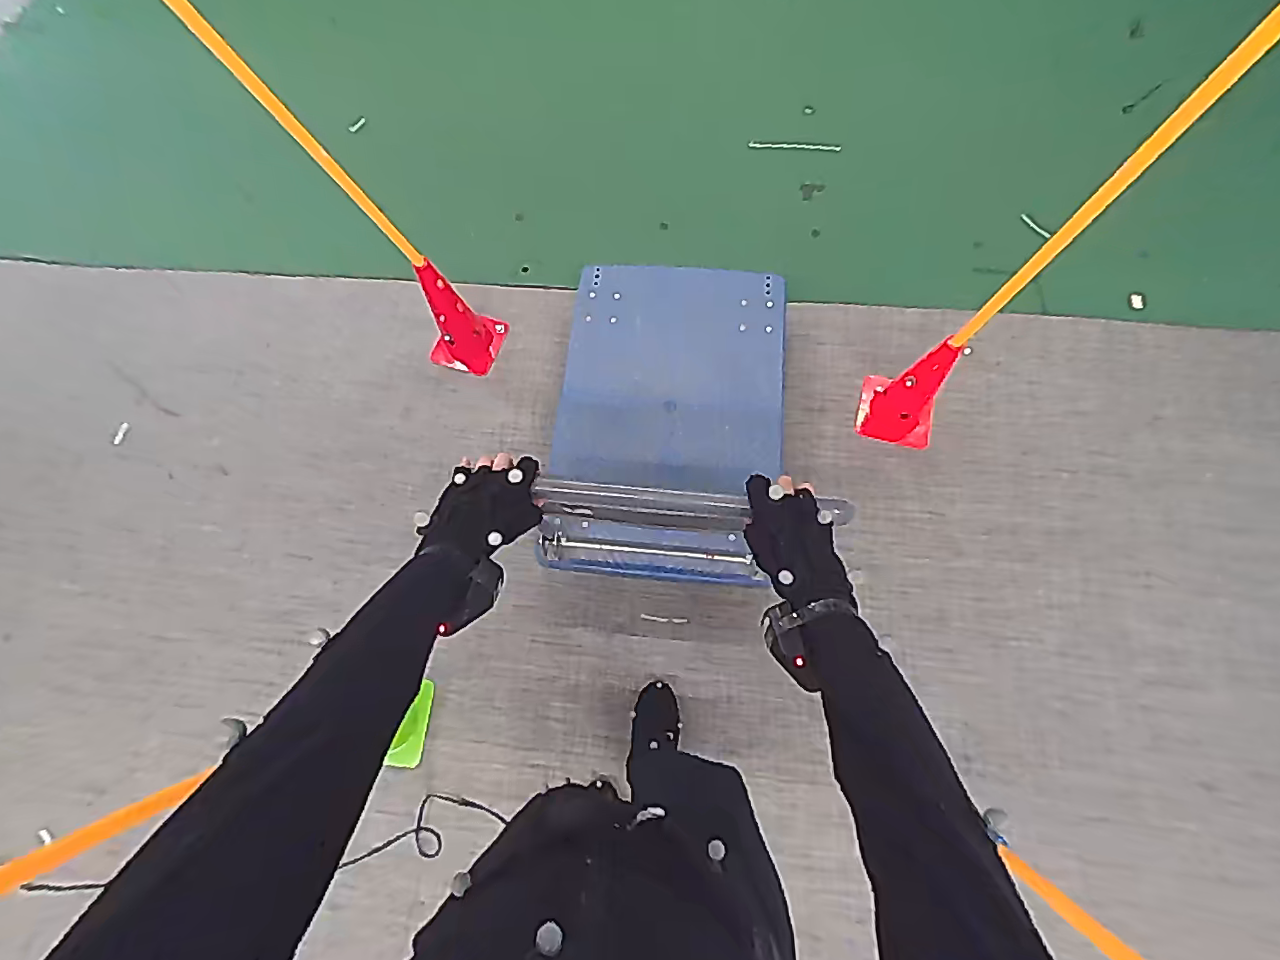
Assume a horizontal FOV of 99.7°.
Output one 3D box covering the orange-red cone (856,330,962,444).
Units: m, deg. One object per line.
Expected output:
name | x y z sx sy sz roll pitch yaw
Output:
orange-red cone | 0.712 -0.261 1.370 0.198 0.360 0.199 15 74 9
